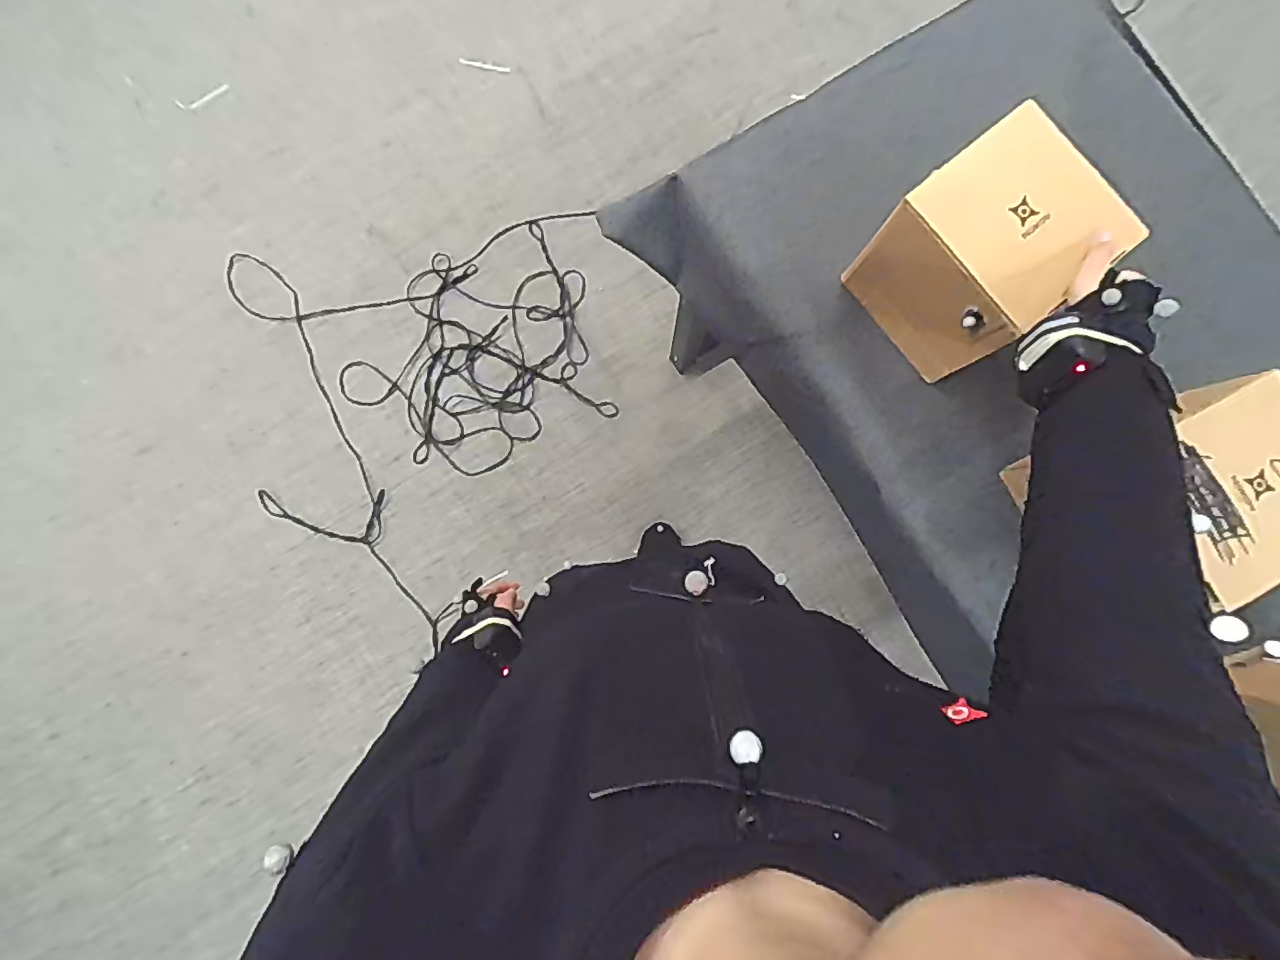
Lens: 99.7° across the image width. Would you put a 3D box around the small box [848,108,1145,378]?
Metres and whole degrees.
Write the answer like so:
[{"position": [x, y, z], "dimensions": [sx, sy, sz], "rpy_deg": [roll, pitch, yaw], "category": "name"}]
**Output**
[{"position": [0.367, -0.242, 0.595], "dimensions": [0.168, 0.176, 0.179], "rpy_deg": [-39, 87, -4], "category": "small box"}]
